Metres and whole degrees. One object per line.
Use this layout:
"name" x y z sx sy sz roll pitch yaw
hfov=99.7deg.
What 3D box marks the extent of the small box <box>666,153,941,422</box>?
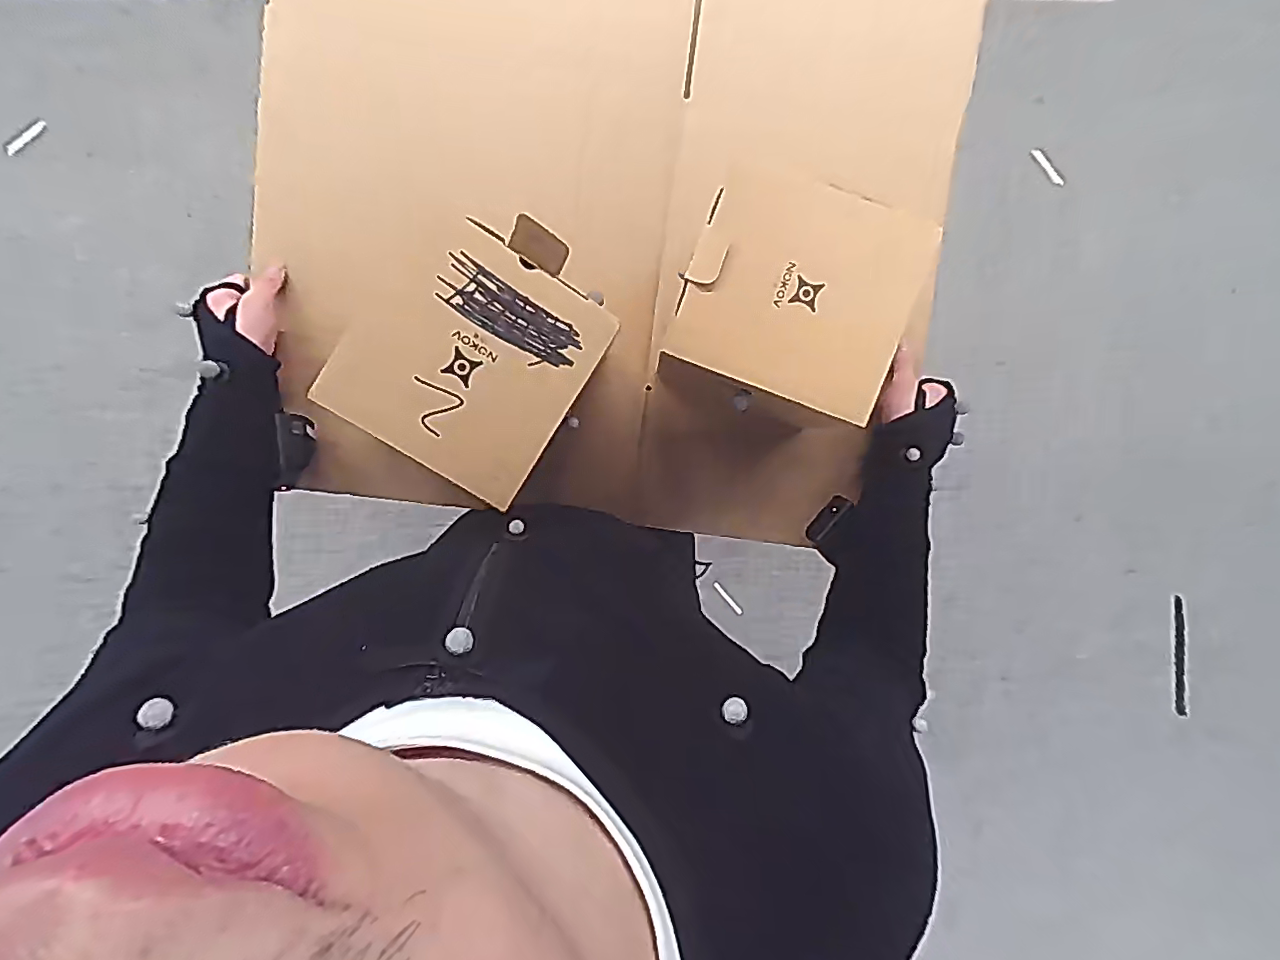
"small box" 0.133 -0.162 0.514 0.179 0.176 0.168 20 95 0
